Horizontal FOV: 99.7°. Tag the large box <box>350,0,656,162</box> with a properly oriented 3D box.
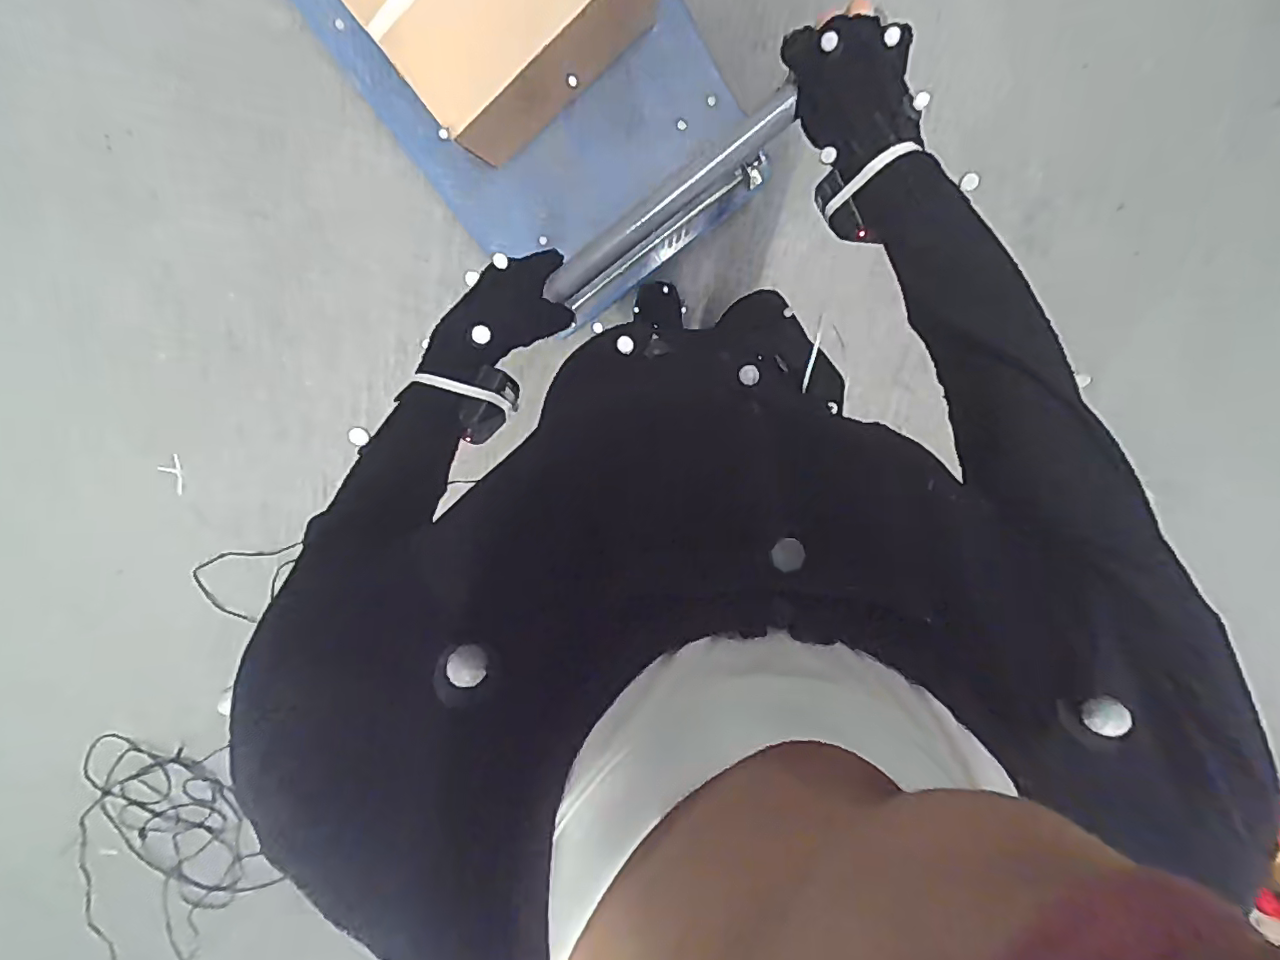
[{"bbox_3d":[-0.211,-0.795,0.852,0.408,0.320,0.320,-36,108,13],"label":"large box"}]
